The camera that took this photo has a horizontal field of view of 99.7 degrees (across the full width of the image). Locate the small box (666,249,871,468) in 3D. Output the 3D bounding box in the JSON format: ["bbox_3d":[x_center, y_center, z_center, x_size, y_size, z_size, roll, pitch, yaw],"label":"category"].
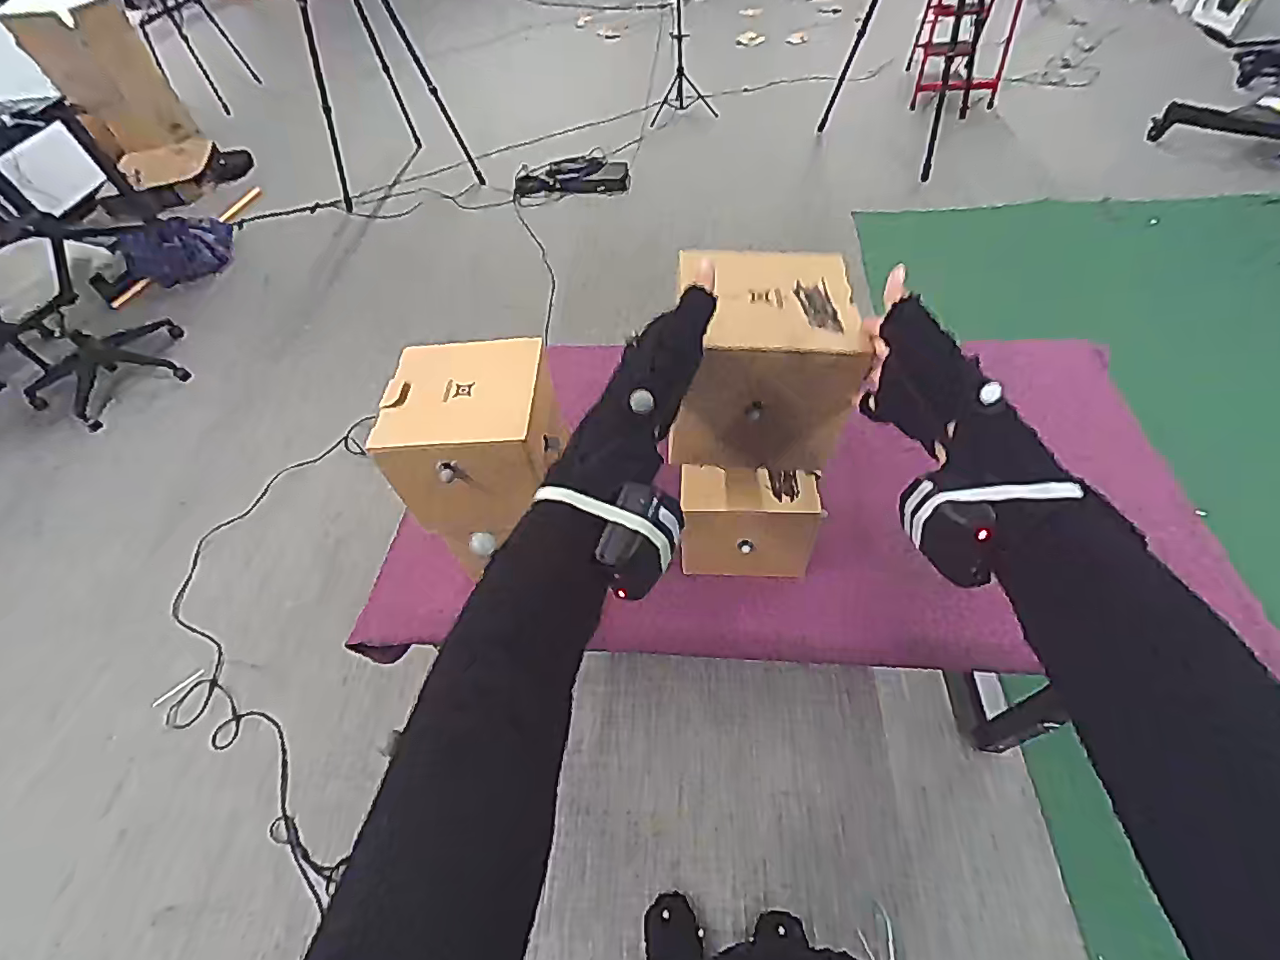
[{"bbox_3d":[0.123,-0.127,0.592,0.179,0.176,0.168,3,52,1],"label":"small box"}]

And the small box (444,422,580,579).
[{"bbox_3d":[-0.187,0.032,0.814,0.168,0.176,0.179,-2,53,3],"label":"small box"}]

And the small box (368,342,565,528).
[{"bbox_3d":[-0.195,-0.051,0.674,0.179,0.176,0.168,-2,53,3],"label":"small box"}]
